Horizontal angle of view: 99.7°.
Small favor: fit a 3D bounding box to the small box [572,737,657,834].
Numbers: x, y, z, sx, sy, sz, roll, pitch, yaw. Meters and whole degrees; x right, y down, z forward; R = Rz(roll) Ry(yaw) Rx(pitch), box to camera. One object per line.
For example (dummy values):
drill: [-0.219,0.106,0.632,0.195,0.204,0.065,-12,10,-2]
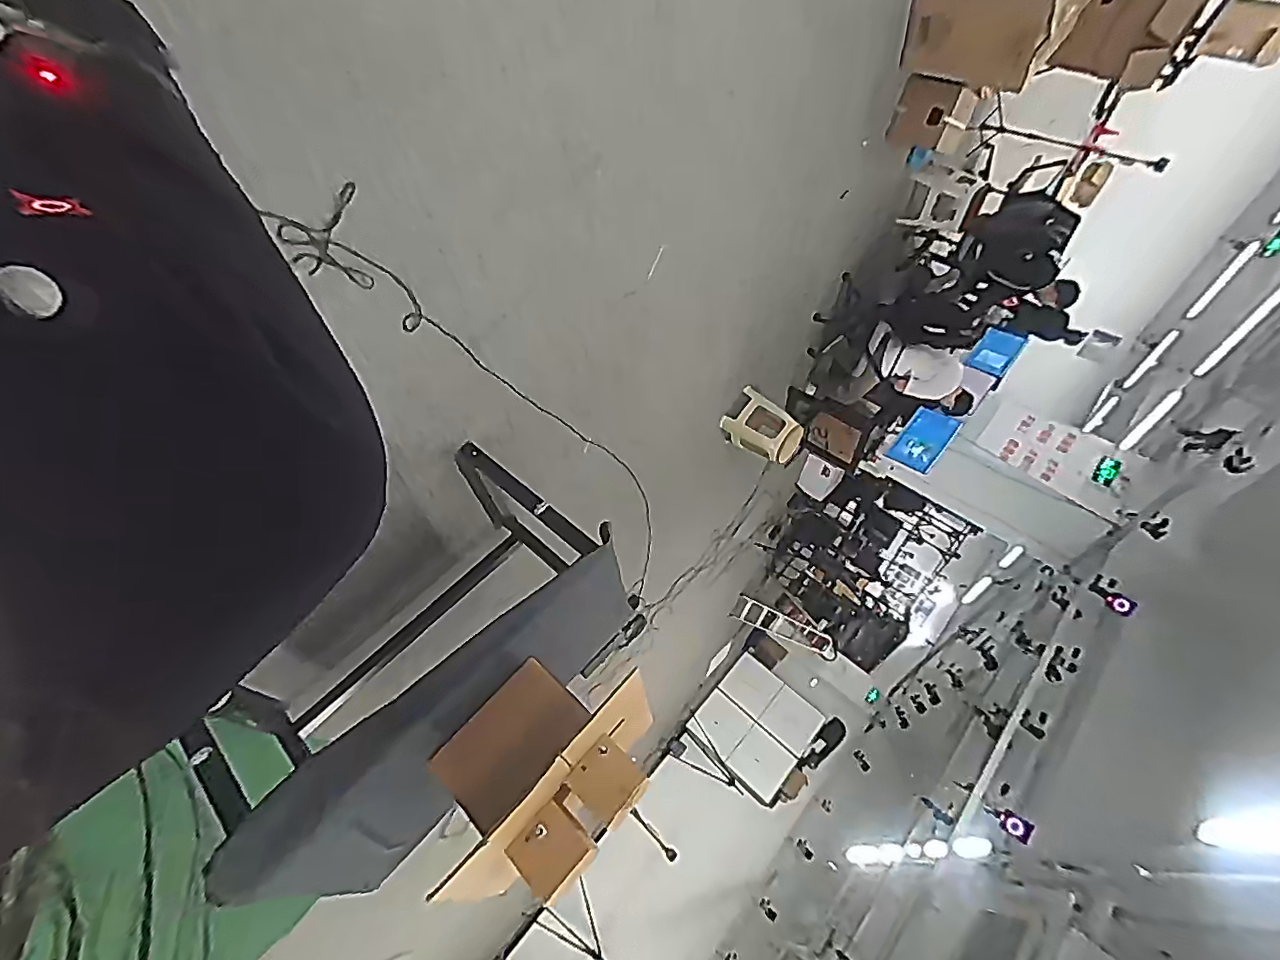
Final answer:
small box: [-0.072,0.865,1.537,0.168,0.176,0.179,-43,151,-23]
